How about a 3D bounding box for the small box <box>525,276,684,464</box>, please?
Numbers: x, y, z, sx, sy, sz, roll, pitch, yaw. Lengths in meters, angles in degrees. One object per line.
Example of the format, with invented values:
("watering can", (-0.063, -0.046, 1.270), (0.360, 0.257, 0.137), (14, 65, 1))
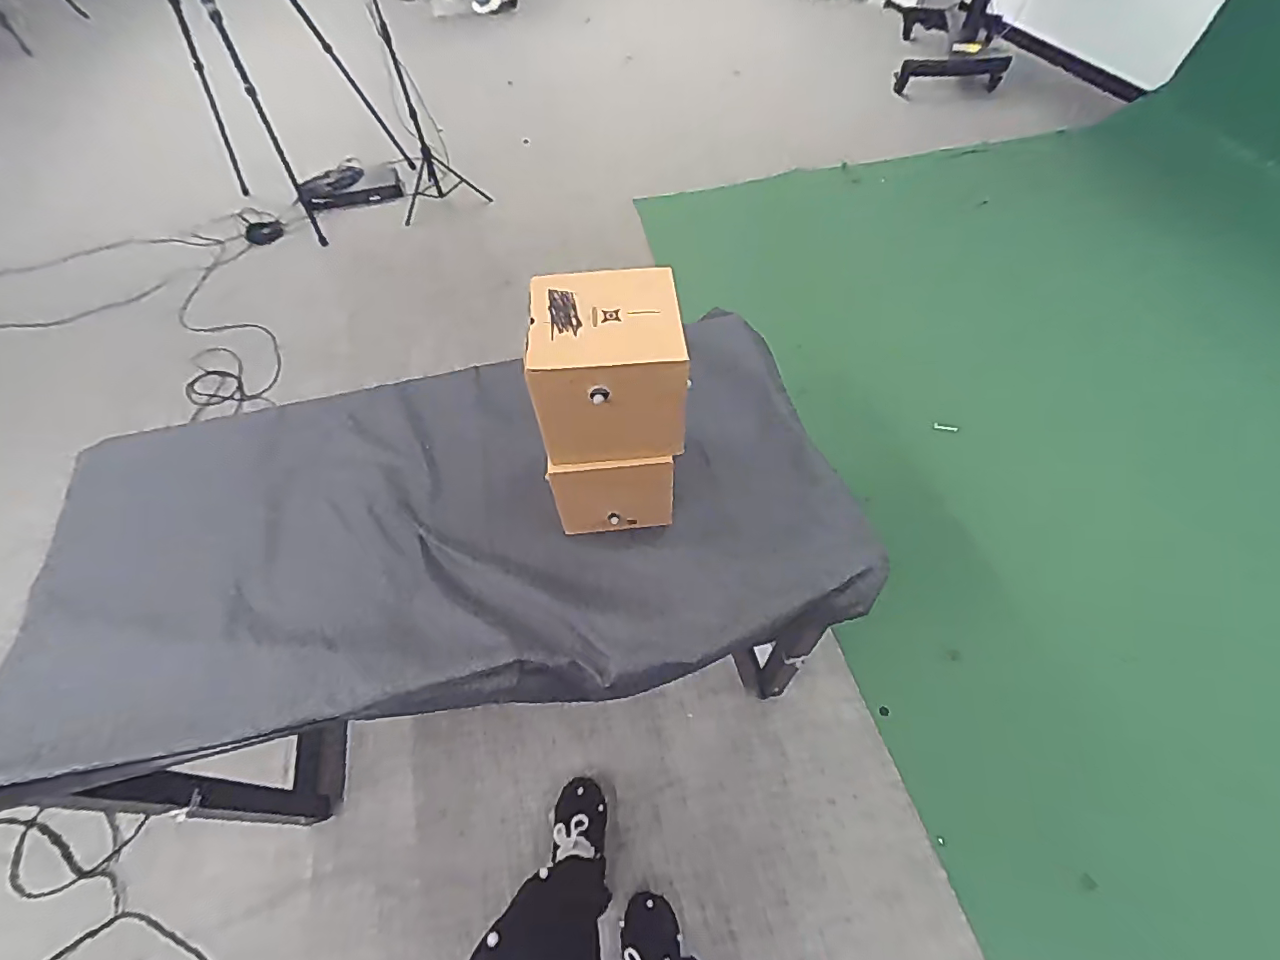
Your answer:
("small box", (-0.039, -0.133, 0.688), (0.179, 0.176, 0.168), (-5, 55, -1))
